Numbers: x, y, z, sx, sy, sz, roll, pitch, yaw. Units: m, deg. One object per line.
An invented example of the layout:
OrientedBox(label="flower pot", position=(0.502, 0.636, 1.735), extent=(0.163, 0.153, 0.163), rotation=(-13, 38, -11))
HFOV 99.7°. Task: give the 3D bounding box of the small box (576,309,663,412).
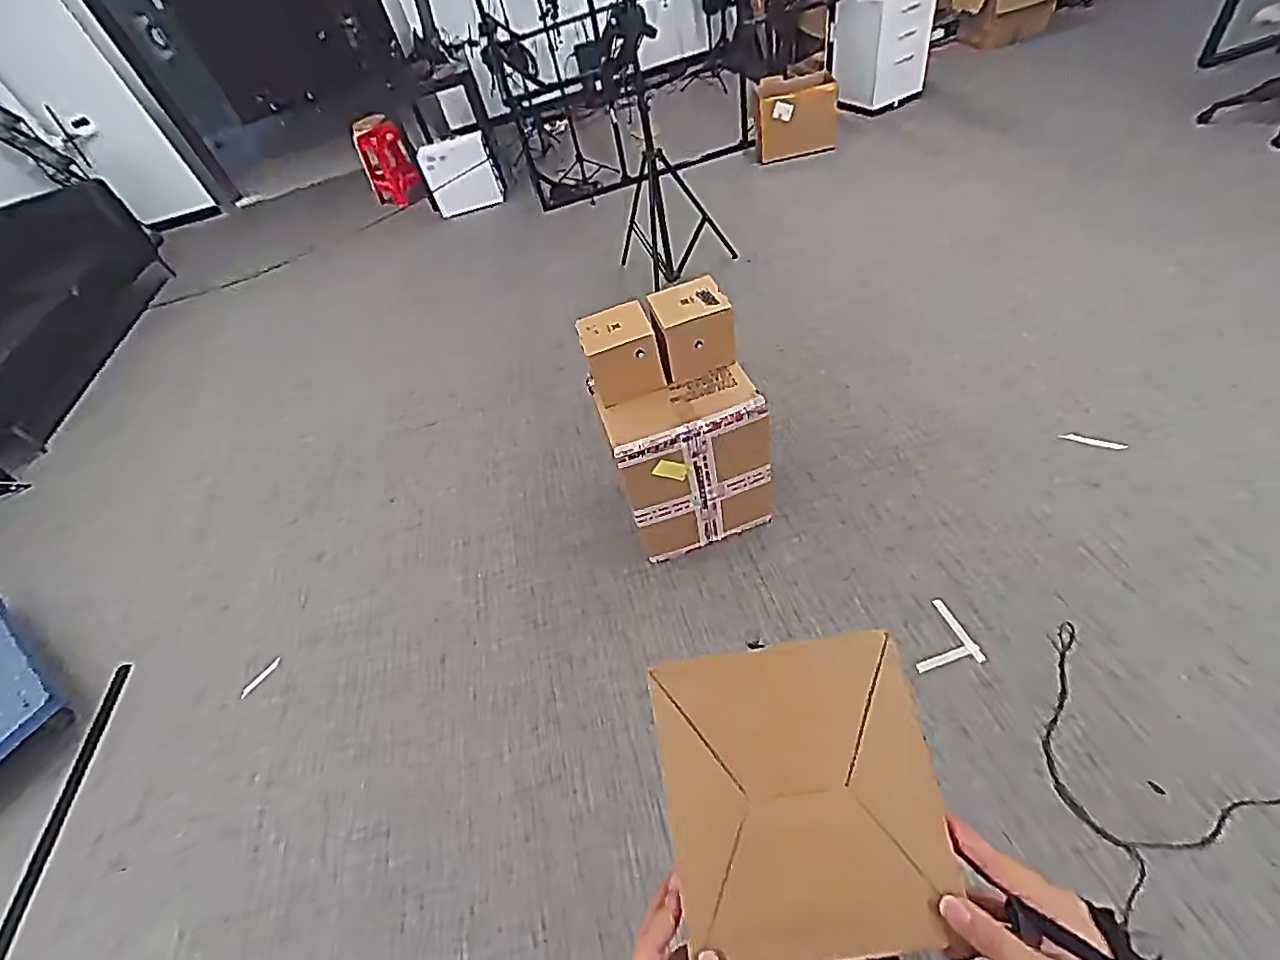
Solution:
OrientedBox(label="small box", position=(-0.048, -0.305, 1.396), extent=(0.179, 0.176, 0.168), rotation=(-20, 48, 1))

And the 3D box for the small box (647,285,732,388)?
OrientedBox(label="small box", position=(0.131, -0.370, 1.405), extent=(0.179, 0.176, 0.168), rotation=(-19, 48, -2))
